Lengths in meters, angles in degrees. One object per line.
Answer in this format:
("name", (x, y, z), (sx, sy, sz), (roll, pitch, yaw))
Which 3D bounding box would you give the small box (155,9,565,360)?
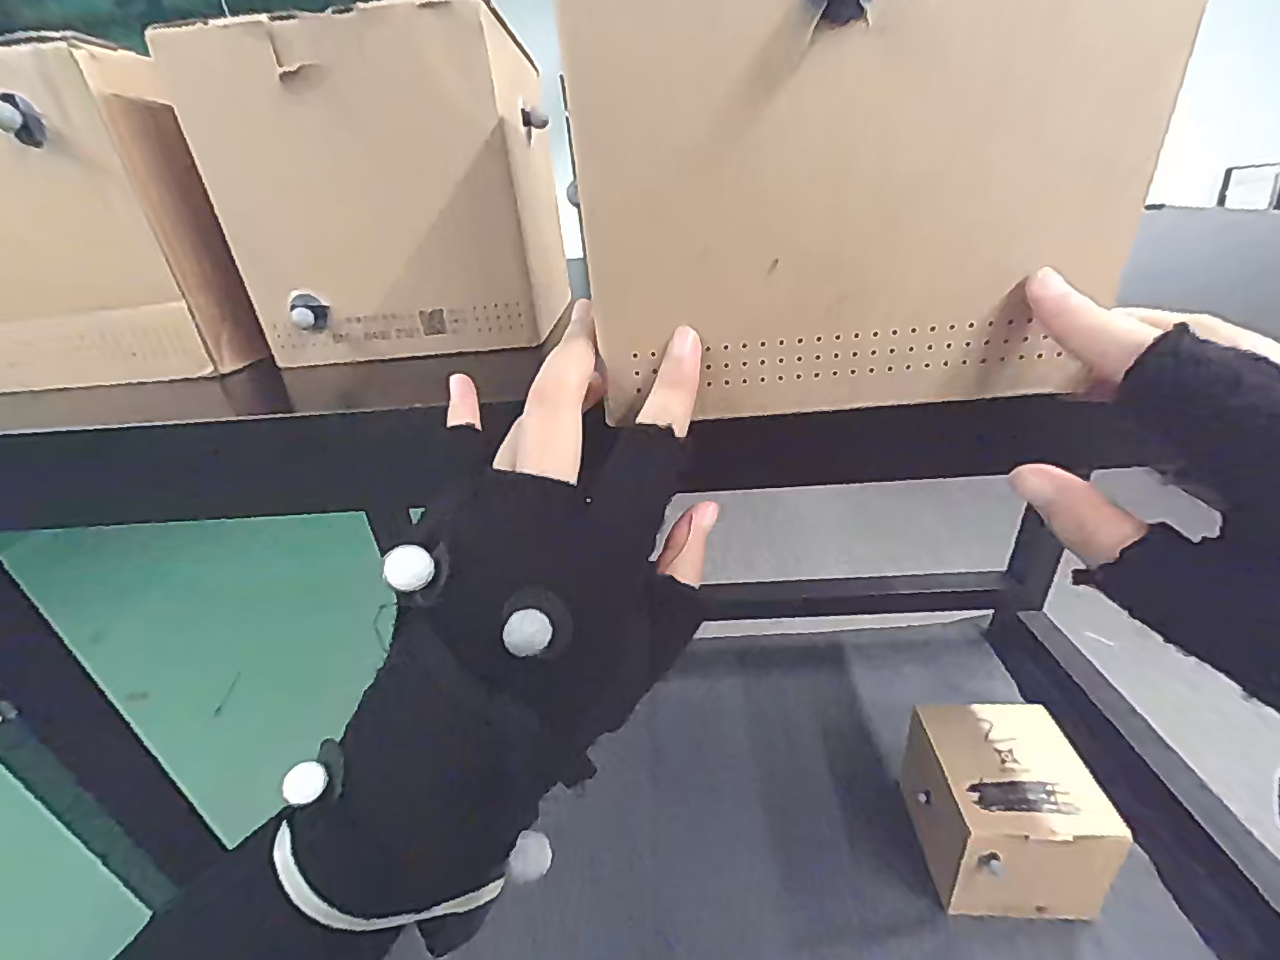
("small box", (-0.151, -0.182, 0.371), (0.168, 0.176, 0.179), (-4, 27, 2))

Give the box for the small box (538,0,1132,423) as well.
("small box", (0.063, -0.130, 0.236), (0.179, 0.176, 0.168), (-3, 29, 4))
